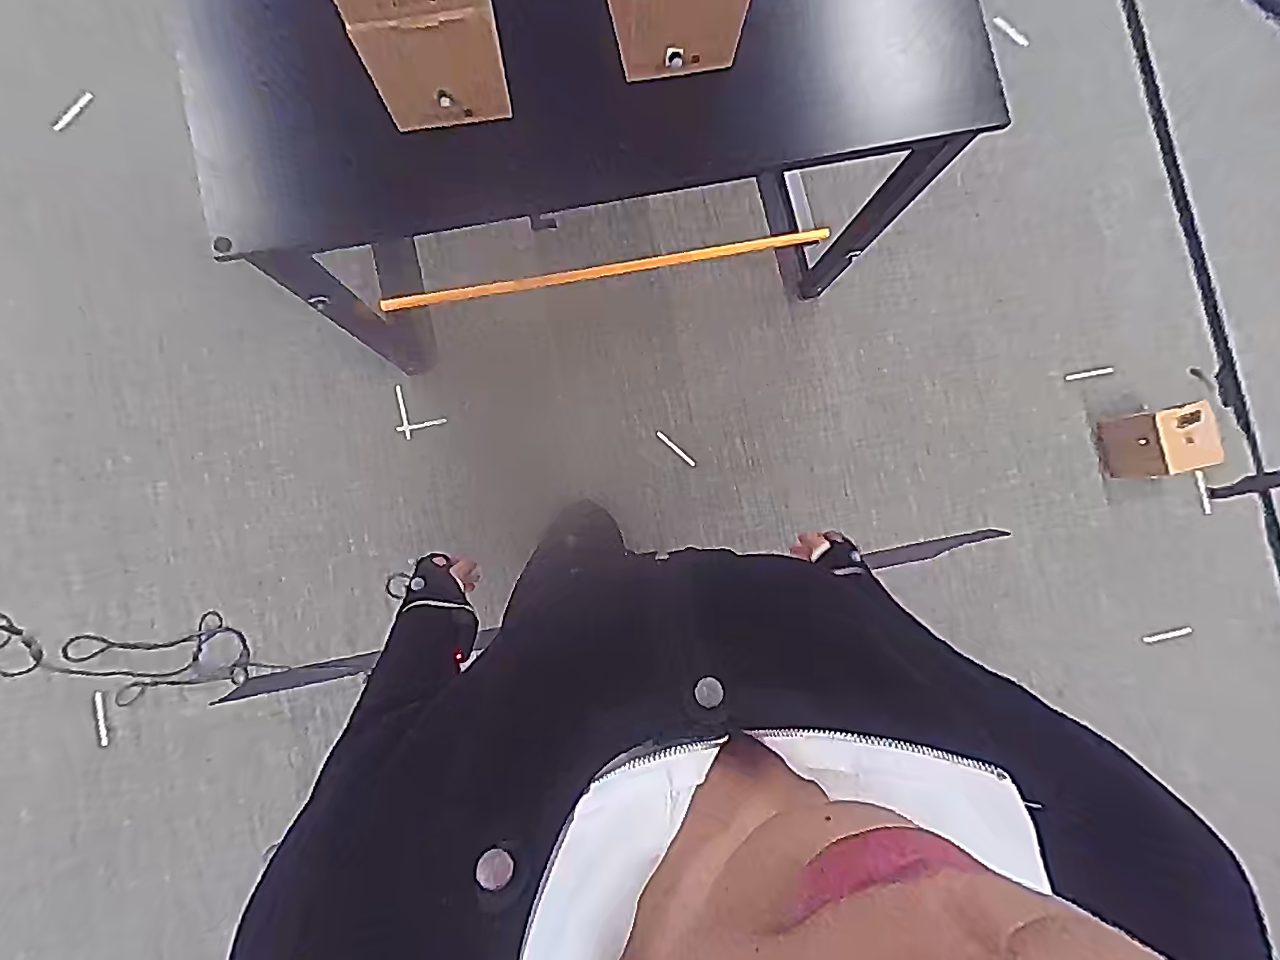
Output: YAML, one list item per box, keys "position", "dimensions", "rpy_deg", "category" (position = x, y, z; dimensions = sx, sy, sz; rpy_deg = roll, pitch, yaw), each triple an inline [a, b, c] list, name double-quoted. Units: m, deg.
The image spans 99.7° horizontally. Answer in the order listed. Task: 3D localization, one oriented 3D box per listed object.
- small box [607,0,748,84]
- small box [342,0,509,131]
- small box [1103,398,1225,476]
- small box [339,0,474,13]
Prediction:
- position: [0.044, -0.700, 0.744]
  dimensions: [0.168, 0.176, 0.179]
  rpy_deg: [-13, 88, -3]
  category: "small box"
- position: [-0.280, -0.608, 0.715]
  dimensions: [0.168, 0.176, 0.179]
  rpy_deg: [-11, 87, -4]
  category: "small box"
- position: [1.465, -0.117, 1.526]
  dimensions: [0.168, 0.176, 0.179]
  rpy_deg: [-13, 88, -4]
  category: "small box"
- position: [-0.273, -0.627, 0.552]
  dimensions: [0.168, 0.176, 0.179]
  rpy_deg: [-13, 88, -4]
  category: "small box"
